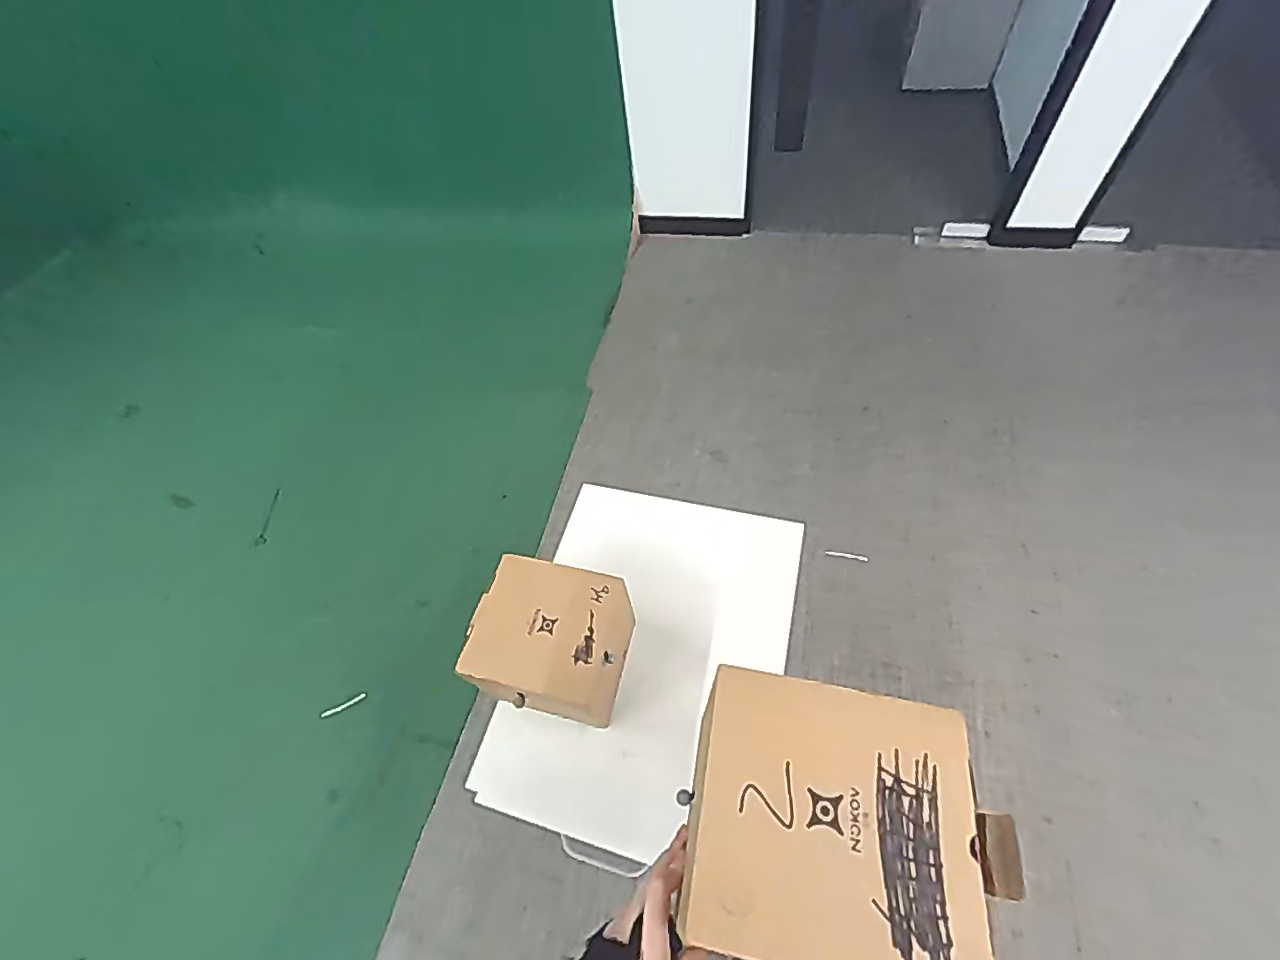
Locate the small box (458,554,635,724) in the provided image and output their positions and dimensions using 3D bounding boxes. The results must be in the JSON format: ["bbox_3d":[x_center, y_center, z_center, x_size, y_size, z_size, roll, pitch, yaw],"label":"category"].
[{"bbox_3d":[-0.116,0.226,0.756,0.179,0.176,0.168,10,58,13],"label":"small box"}]
